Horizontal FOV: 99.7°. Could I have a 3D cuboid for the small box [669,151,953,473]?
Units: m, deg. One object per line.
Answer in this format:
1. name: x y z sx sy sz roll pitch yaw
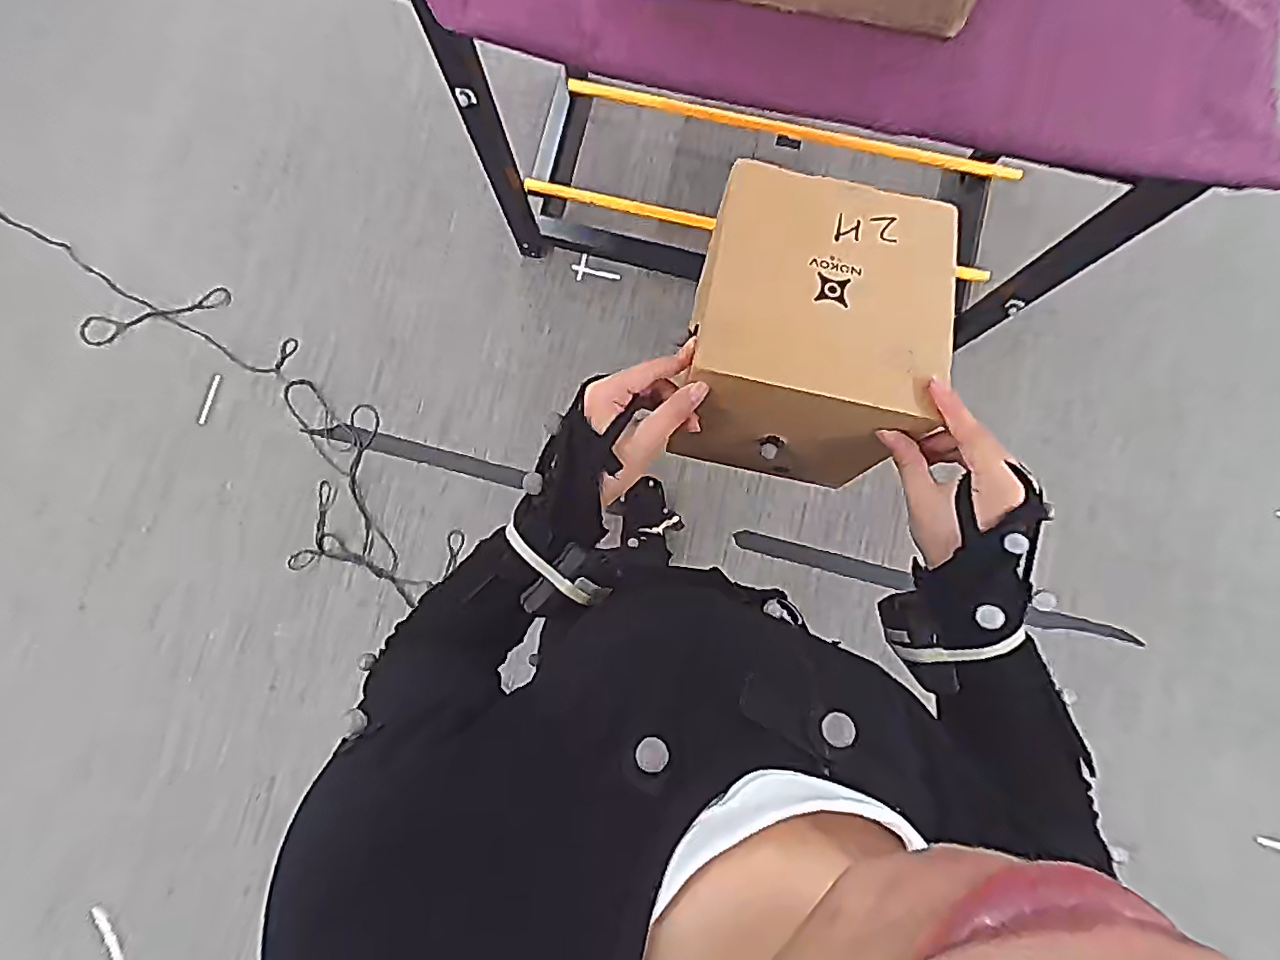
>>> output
1. small box: 0.123 -0.119 0.444 0.168 0.176 0.179 12 74 -1
